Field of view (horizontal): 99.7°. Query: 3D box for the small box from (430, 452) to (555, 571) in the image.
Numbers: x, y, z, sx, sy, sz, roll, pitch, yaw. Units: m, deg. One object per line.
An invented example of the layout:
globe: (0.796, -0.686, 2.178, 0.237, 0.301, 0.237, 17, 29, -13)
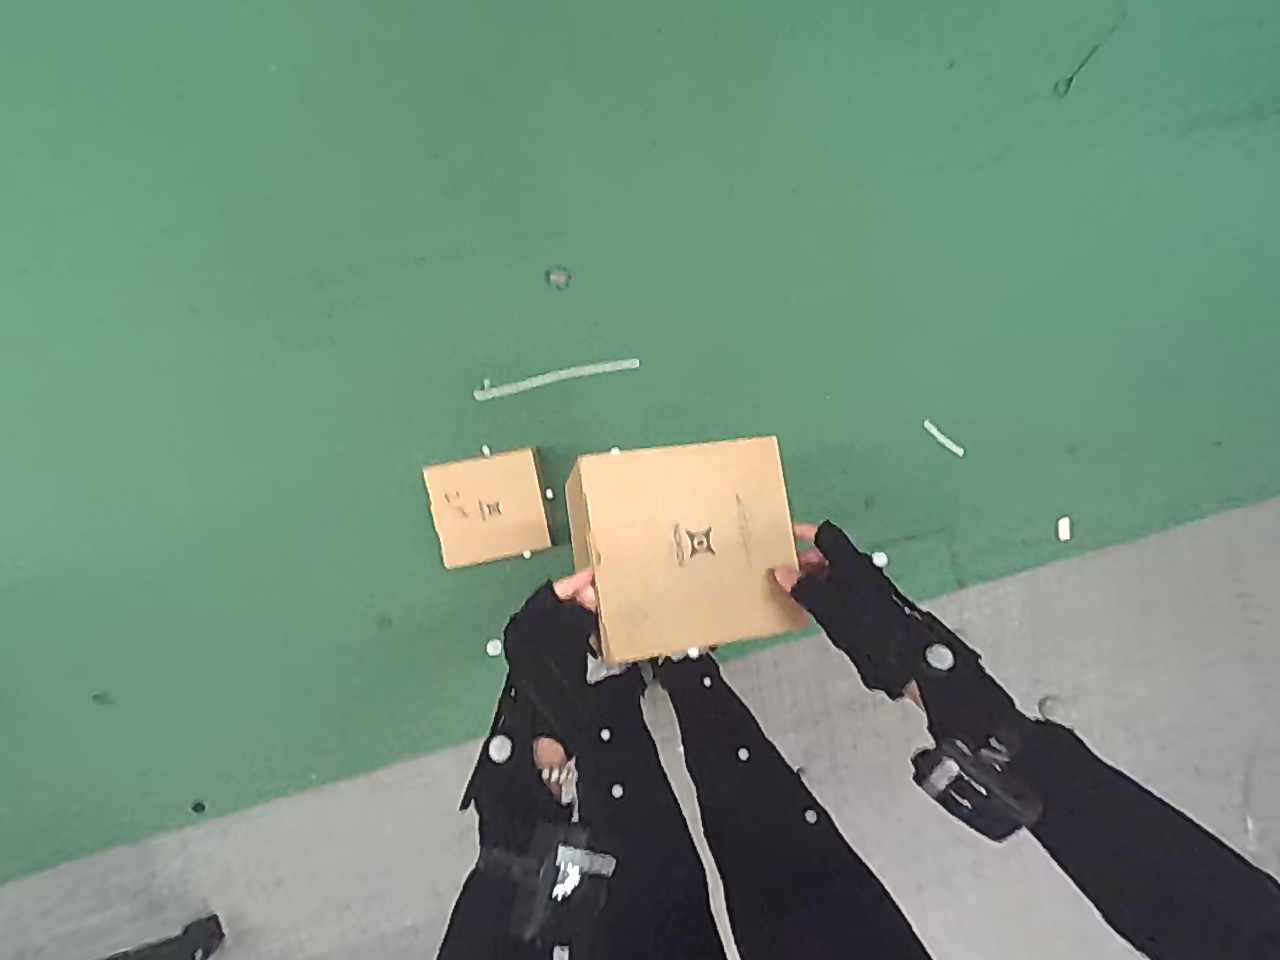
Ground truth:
small box: (-0.250, 0.047, 0.958, 0.179, 0.176, 0.168, -11, 97, -7)

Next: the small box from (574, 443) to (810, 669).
small box: (0.031, 0.068, 0.512, 0.179, 0.176, 0.168, -6, 84, -11)
